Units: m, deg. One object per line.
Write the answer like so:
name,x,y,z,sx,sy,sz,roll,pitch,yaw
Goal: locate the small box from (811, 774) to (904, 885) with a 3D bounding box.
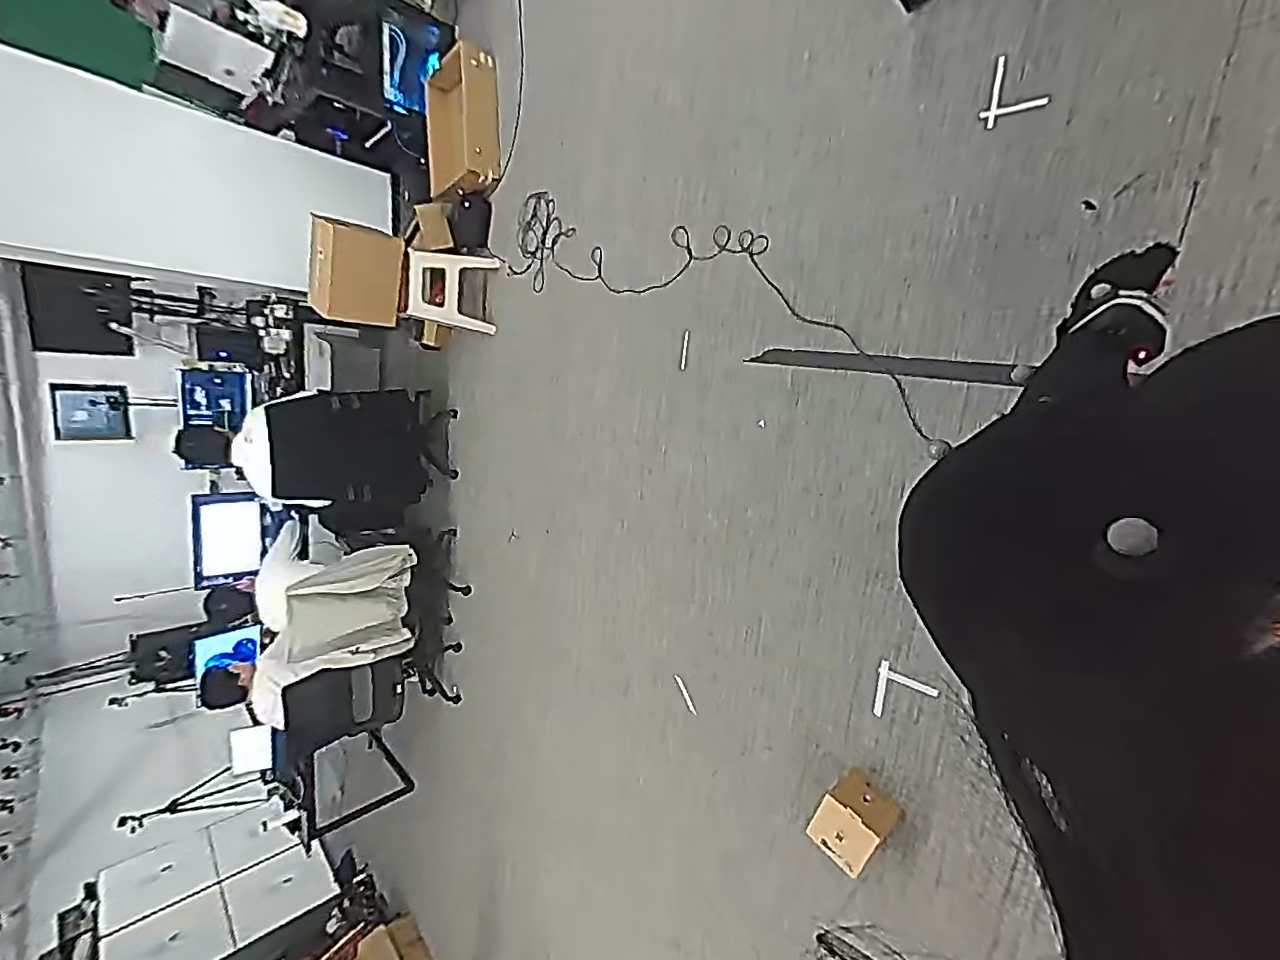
small box,0.632,0.994,1.556,0.168,0.176,0.179,34,116,39
